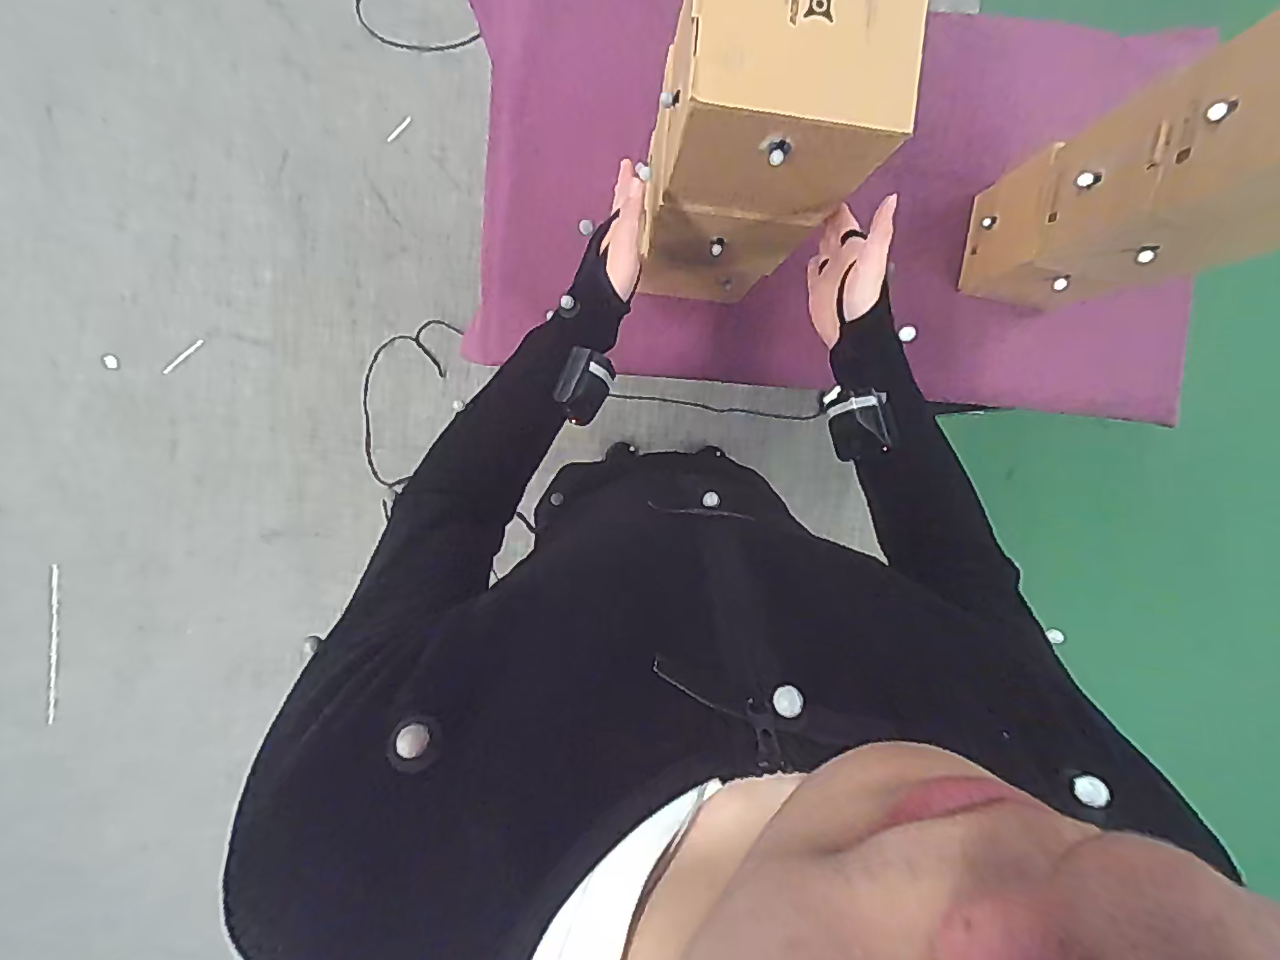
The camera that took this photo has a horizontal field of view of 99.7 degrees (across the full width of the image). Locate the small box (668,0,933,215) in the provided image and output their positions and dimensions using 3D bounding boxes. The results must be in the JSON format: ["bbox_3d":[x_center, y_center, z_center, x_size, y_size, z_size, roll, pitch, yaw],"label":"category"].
[{"bbox_3d":[0.125,-0.357,0.477,0.179,0.176,0.168,5,94,-6],"label":"small box"}]

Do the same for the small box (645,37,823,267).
[{"bbox_3d":[0.106,-0.365,0.638,0.179,0.176,0.168,4,93,-5],"label":"small box"}]

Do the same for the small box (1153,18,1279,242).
[{"bbox_3d":[0.673,-0.353,0.524,0.179,0.176,0.168,10,92,-4],"label":"small box"}]

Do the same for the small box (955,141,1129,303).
[{"bbox_3d":[0.644,-0.389,0.851,0.179,0.176,0.168,10,93,-5],"label":"small box"}]

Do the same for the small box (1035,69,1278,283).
[{"bbox_3d":[0.655,-0.368,0.688,0.179,0.176,0.168,10,93,-4],"label":"small box"}]
